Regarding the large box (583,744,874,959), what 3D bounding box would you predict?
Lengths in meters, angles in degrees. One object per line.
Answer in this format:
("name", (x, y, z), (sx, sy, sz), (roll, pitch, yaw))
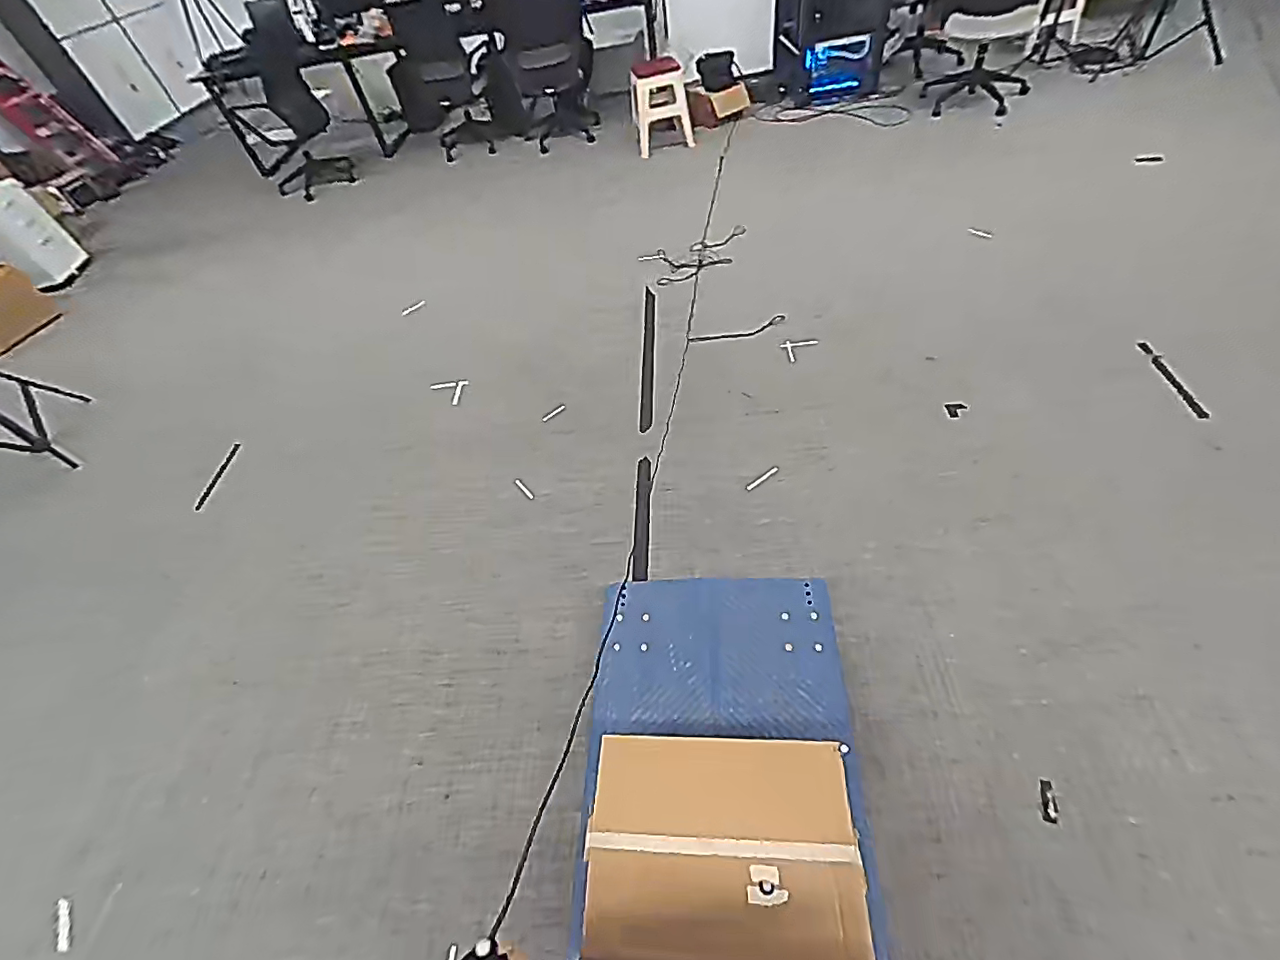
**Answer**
("large box", (0.140, 0.666, 0.927), (0.408, 0.320, 0.320), (-2, 50, 8))
